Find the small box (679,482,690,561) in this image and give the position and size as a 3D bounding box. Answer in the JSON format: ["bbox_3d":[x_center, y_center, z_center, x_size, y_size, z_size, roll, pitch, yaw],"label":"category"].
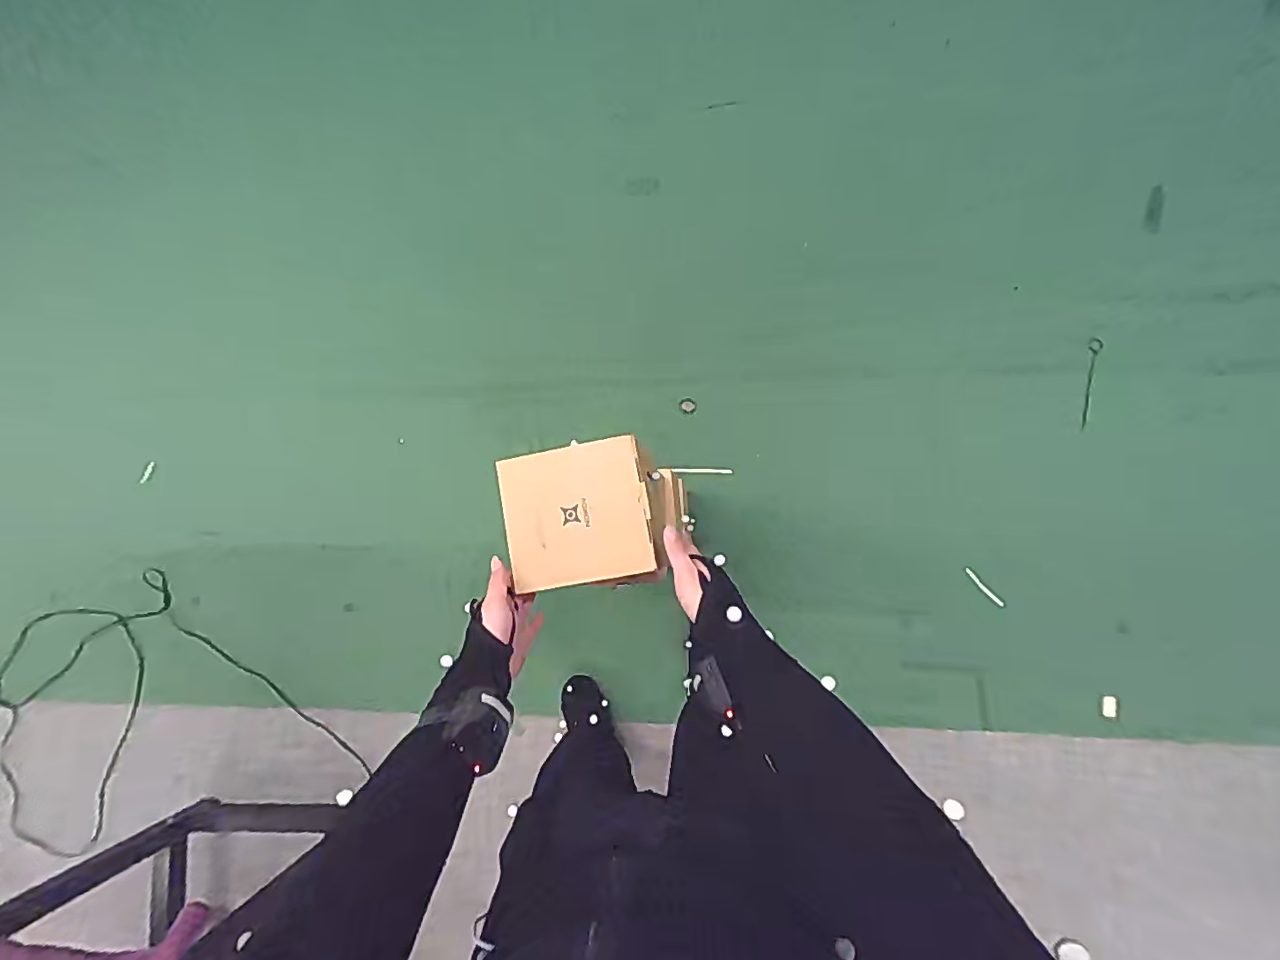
[{"bbox_3d":[0.021,0.094,1.203,0.179,0.176,0.168,-4,84,8],"label":"small box"}]

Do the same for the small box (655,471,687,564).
[{"bbox_3d":[-0.007,0.080,1.042,0.179,0.176,0.168,-6,84,7],"label":"small box"}]

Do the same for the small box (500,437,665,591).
[{"bbox_3d":[-0.065,0.049,0.721,0.179,0.176,0.168,-10,82,8],"label":"small box"}]

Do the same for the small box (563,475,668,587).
[{"bbox_3d":[-0.045,0.076,0.882,0.168,0.176,0.179,-2,85,8],"label":"small box"}]
